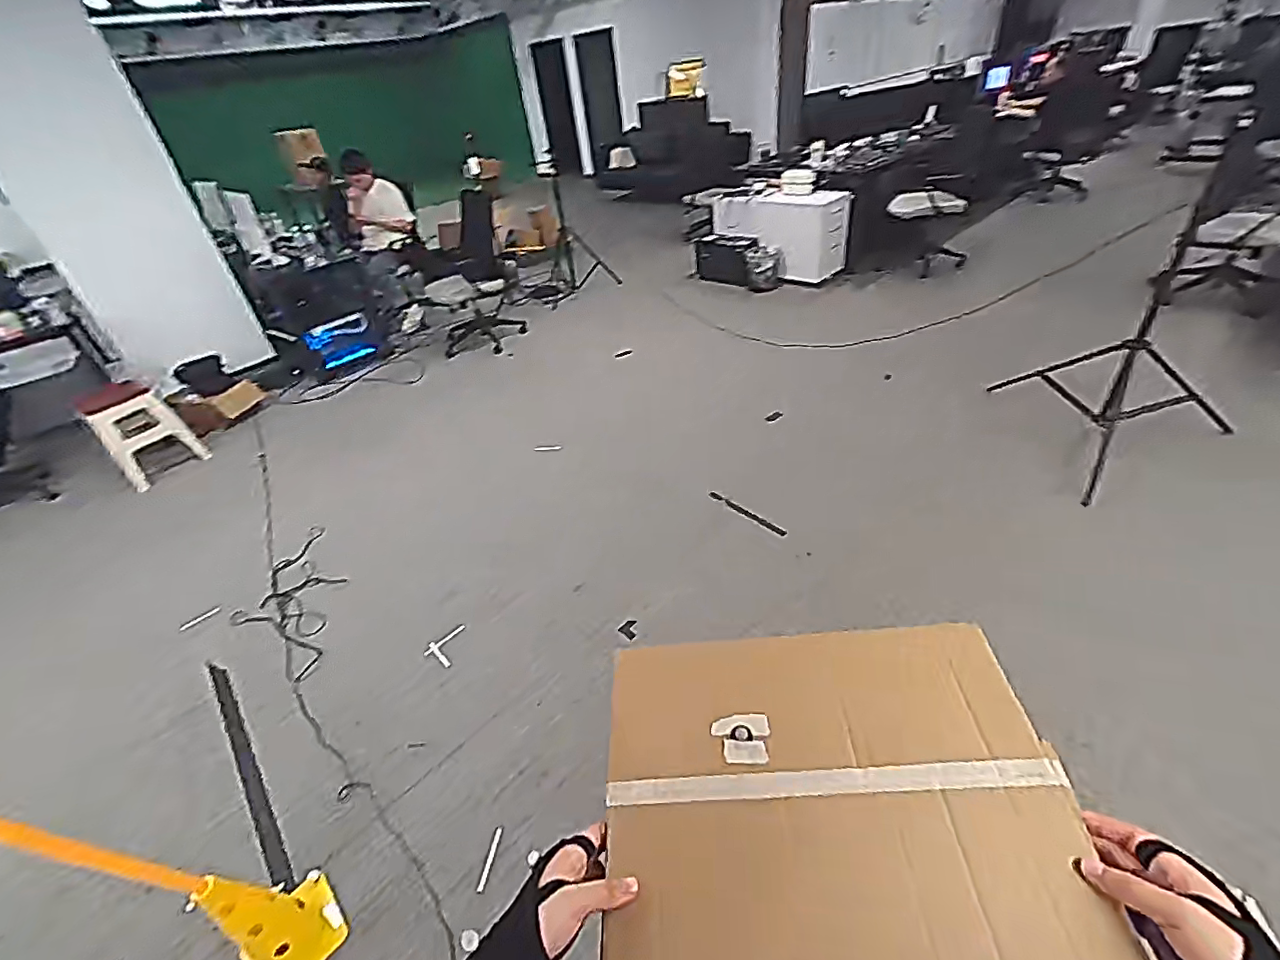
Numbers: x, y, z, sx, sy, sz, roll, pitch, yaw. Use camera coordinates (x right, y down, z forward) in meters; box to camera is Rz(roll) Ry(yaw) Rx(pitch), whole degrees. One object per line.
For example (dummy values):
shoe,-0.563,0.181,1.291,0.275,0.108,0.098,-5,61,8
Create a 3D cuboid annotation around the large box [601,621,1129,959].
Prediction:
large box,0.191,0.395,0.613,0.408,0.320,0.320,-8,41,7
